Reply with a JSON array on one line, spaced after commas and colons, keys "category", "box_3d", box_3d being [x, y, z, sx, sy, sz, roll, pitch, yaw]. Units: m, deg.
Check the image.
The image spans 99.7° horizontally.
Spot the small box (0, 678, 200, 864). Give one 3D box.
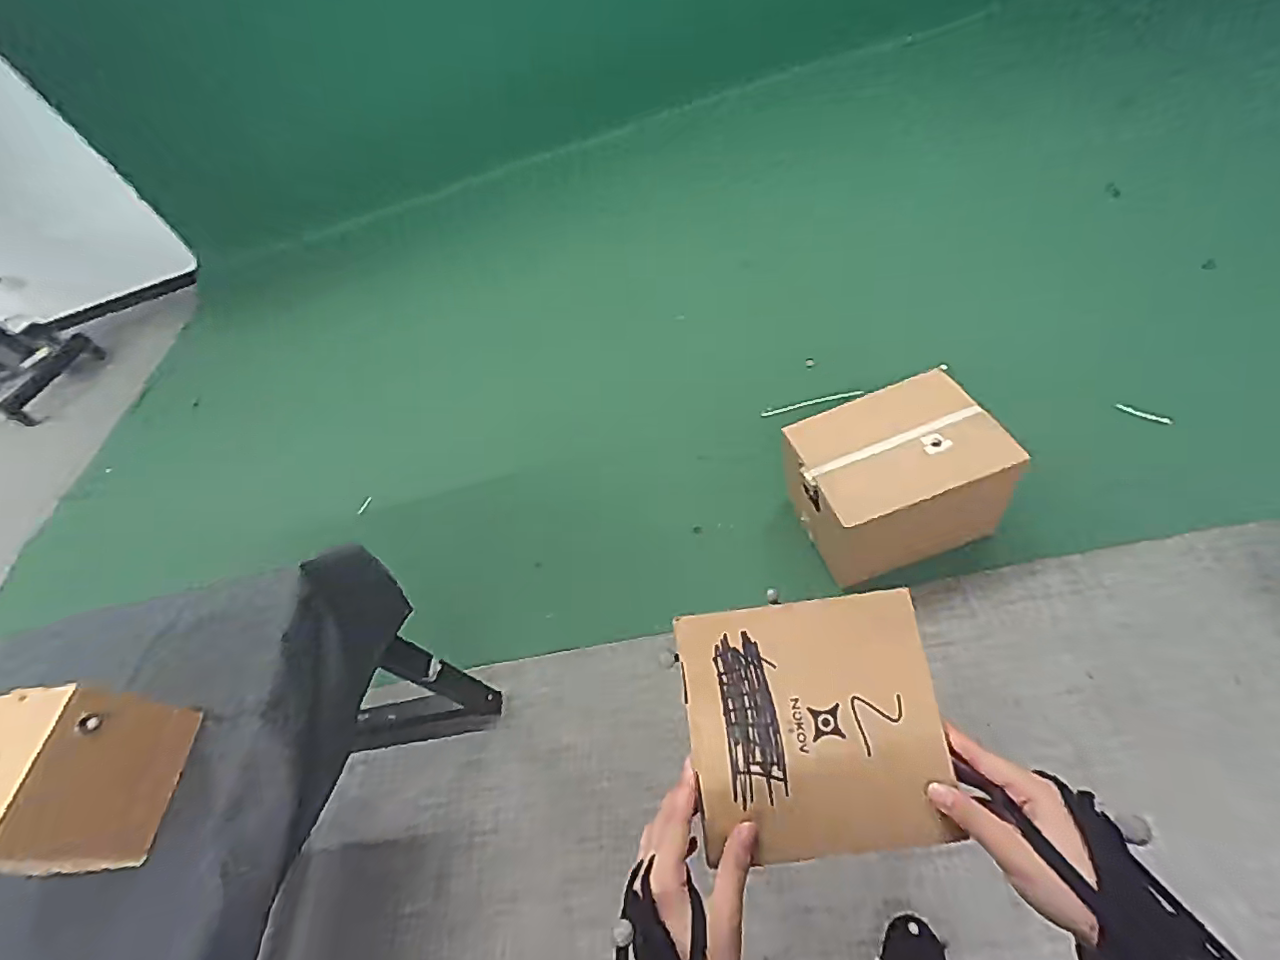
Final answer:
[{"category": "small box", "box_3d": [-0.697, 0.358, 0.656, 0.168, 0.176, 0.179, -12, 53, 11]}]
